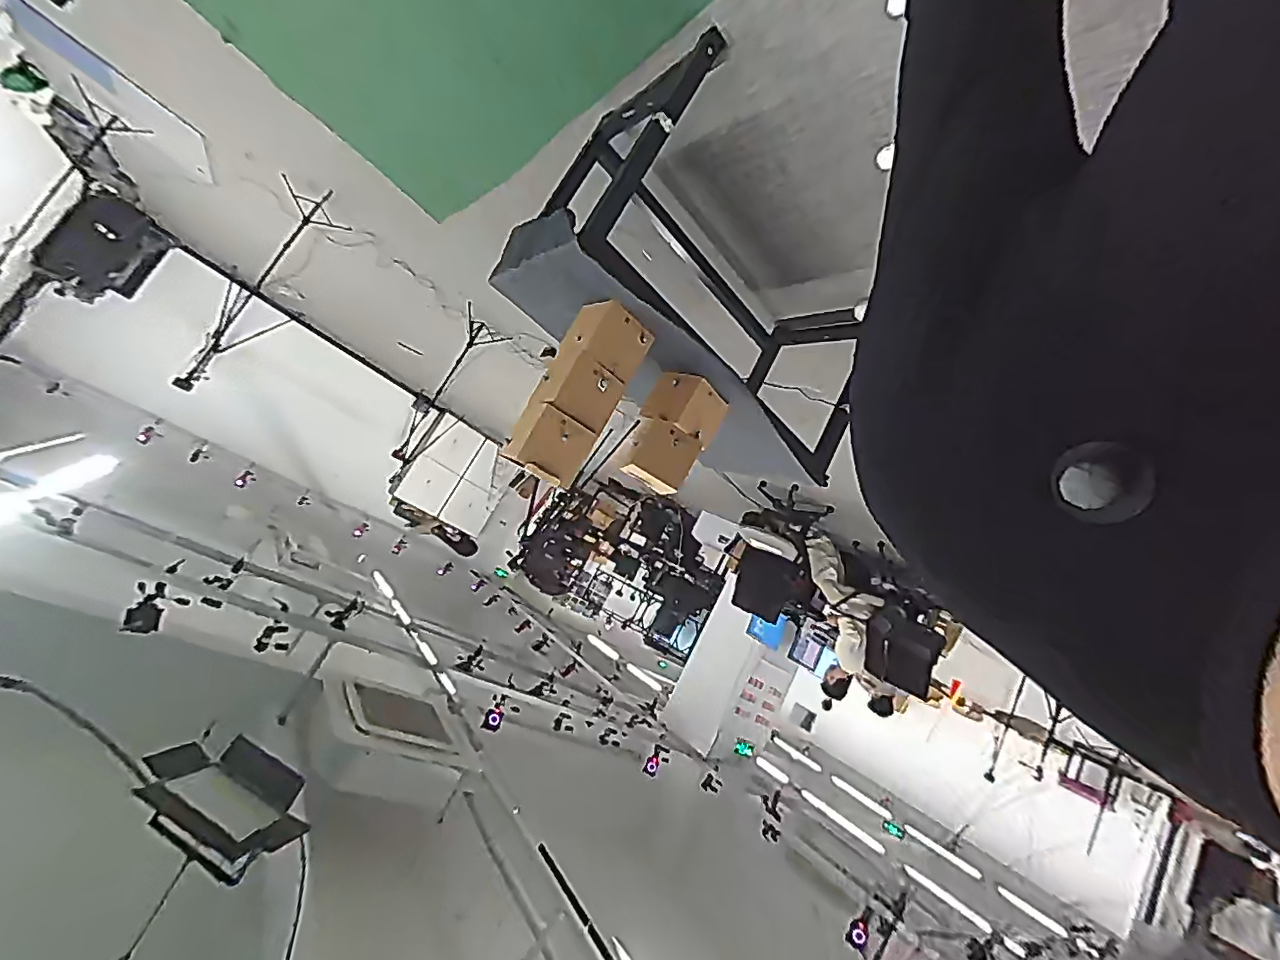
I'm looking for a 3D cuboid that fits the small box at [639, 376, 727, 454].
[{"bbox_3d":[0.136,-0.206,1.679,0.179,0.176,0.168,19,166,46],"label":"small box"}]

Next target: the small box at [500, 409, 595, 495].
[{"bbox_3d":[-0.245,-0.081,1.444,0.168,0.176,0.179,32,171,-28],"label":"small box"}]

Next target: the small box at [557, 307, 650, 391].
[{"bbox_3d":[-0.096,-0.365,1.509,0.168,0.176,0.179,35,170,-35],"label":"small box"}]

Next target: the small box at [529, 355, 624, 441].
[{"bbox_3d":[-0.170,-0.225,1.479,0.168,0.176,0.179,33,169,-31],"label":"small box"}]
